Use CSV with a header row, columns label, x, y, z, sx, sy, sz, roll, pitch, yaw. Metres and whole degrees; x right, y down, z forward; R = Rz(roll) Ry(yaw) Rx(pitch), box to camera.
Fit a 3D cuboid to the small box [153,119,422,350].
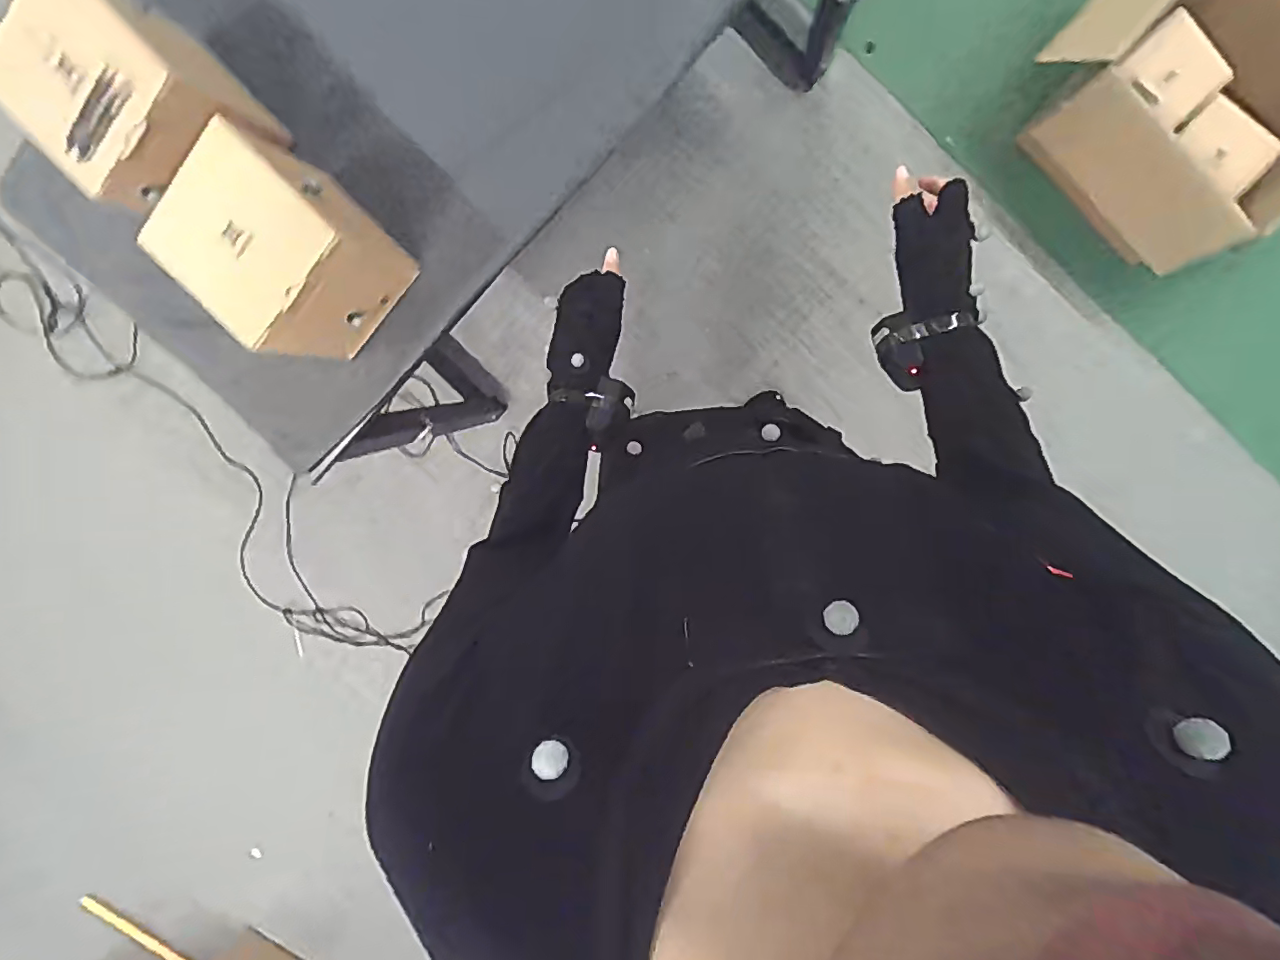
label,x,y,z,sx,sy,sz,roll,pitch,yaw
small box,-0.412,-0.276,0.660,0.179,0.176,0.168,45,102,-1
